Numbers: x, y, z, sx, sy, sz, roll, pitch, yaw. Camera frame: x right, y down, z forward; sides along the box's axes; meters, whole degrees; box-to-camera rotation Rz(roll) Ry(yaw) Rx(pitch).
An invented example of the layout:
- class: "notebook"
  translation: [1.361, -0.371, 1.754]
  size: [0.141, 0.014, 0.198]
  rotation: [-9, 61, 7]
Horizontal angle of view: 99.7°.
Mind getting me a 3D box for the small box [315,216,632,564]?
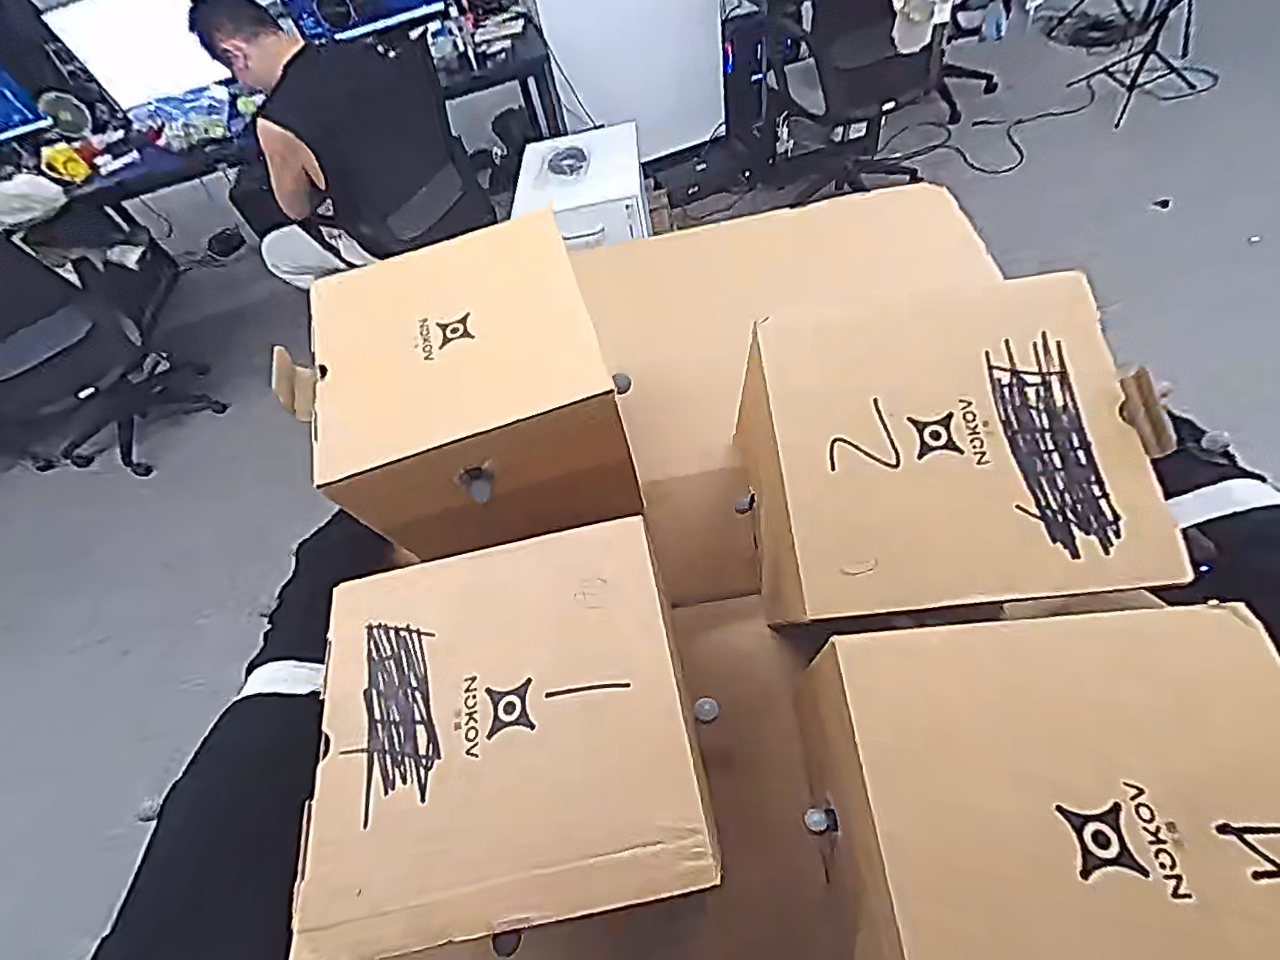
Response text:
- class: "small box"
  translation: [-0.111, -0.056, 0.413]
  size: [0.179, 0.176, 0.168]
  rotation: [-19, 62, 0]
